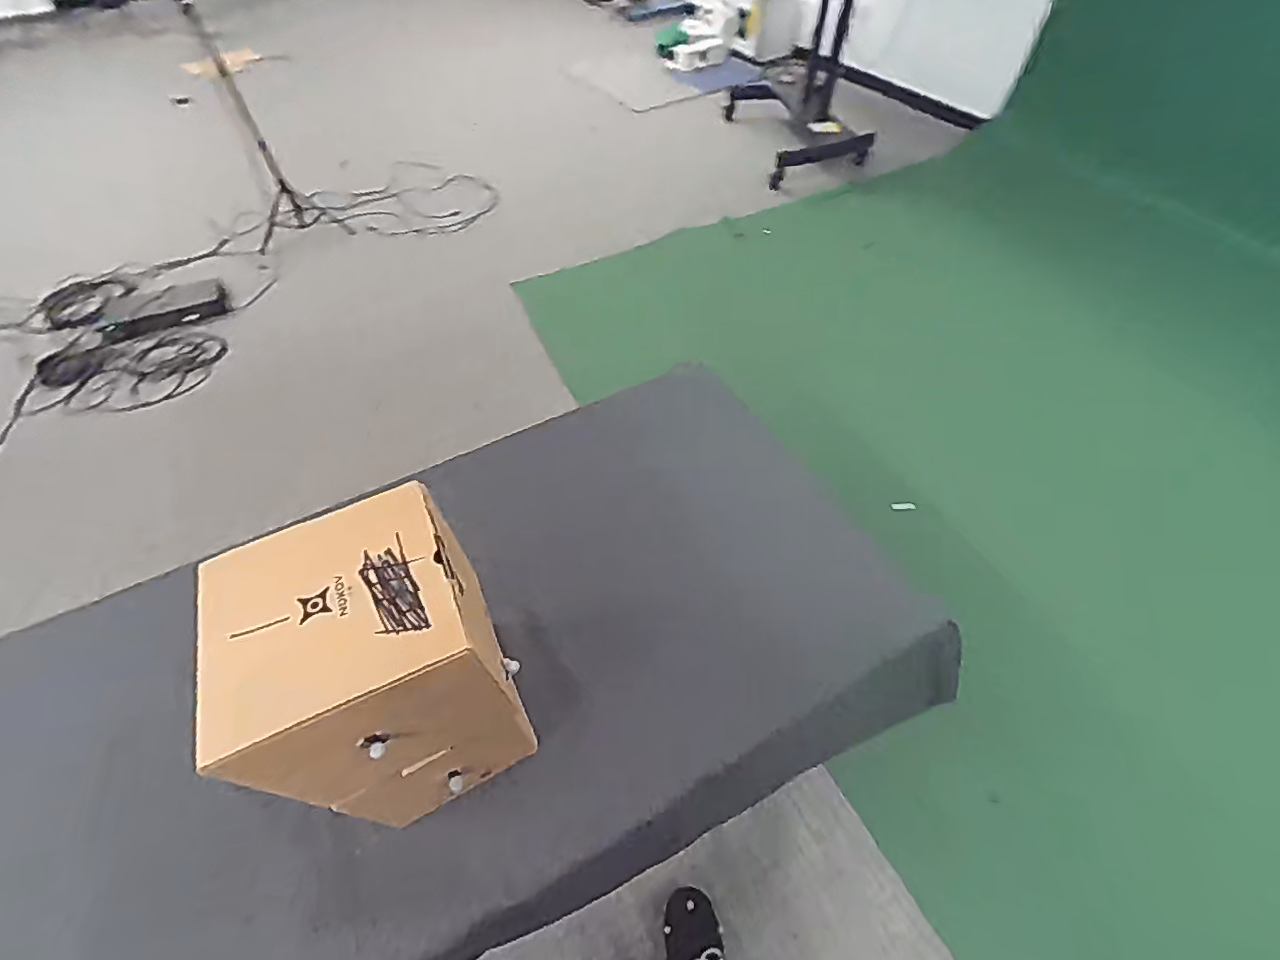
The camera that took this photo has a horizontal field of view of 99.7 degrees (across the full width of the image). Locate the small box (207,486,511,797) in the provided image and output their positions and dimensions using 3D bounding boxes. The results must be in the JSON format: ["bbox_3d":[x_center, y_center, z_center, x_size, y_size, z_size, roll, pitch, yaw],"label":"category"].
[{"bbox_3d":[-0.223,0.141,0.465,0.179,0.176,0.168,-24,55,-13],"label":"small box"}]

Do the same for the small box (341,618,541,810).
[{"bbox_3d":[-0.226,0.238,0.599,0.168,0.176,0.179,-26,56,-16],"label":"small box"}]
